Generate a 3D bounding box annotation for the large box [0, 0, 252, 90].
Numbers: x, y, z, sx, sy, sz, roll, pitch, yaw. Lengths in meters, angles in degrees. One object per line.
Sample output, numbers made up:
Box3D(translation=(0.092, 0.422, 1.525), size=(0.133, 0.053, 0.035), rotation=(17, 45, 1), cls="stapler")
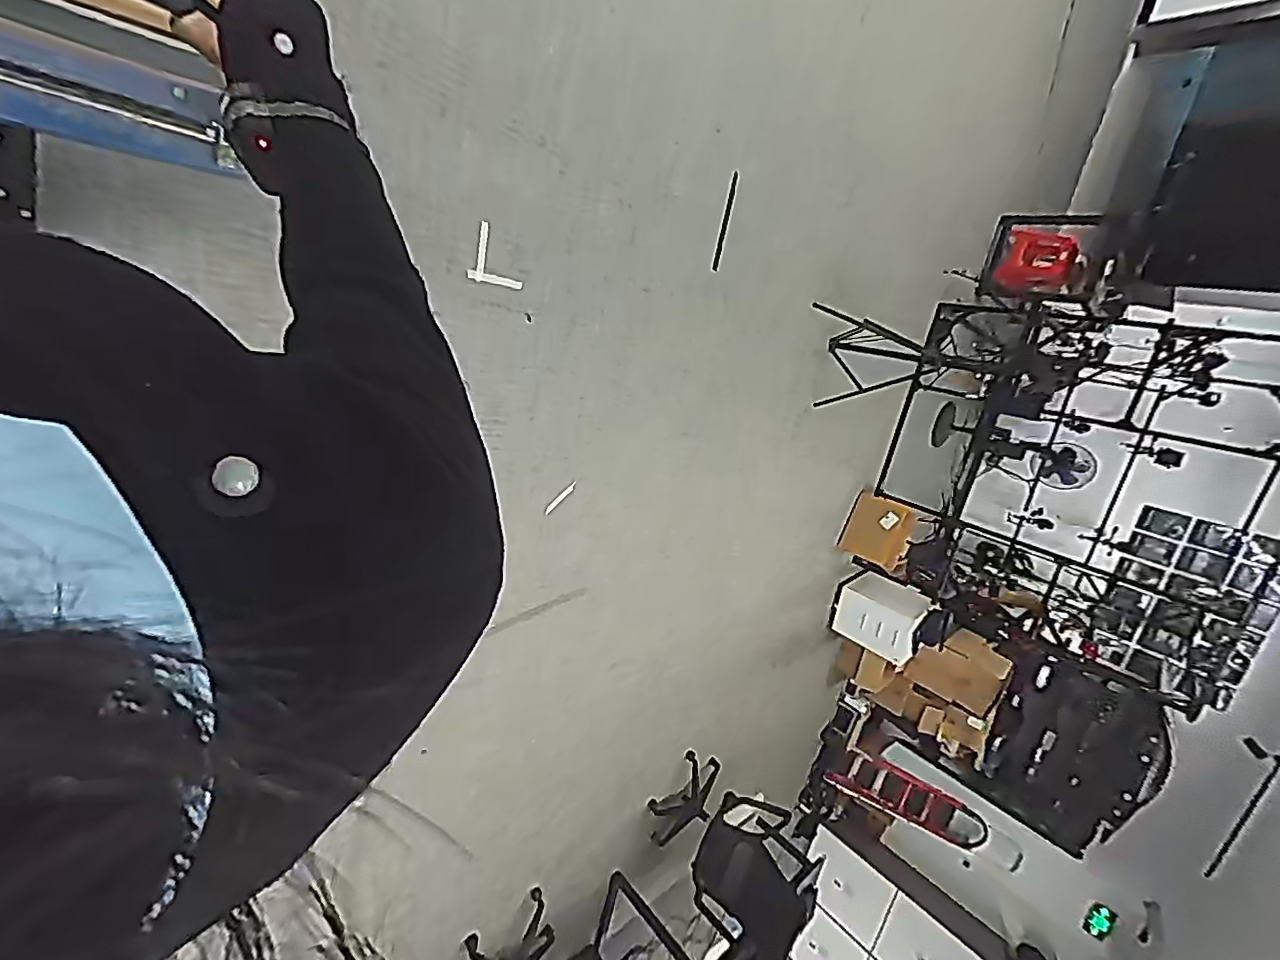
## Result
Box3D(translation=(-0.759, -0.740, 0.656), size=(0.408, 0.320, 0.320), rotation=(-10, 117, -44), cls="large box")
